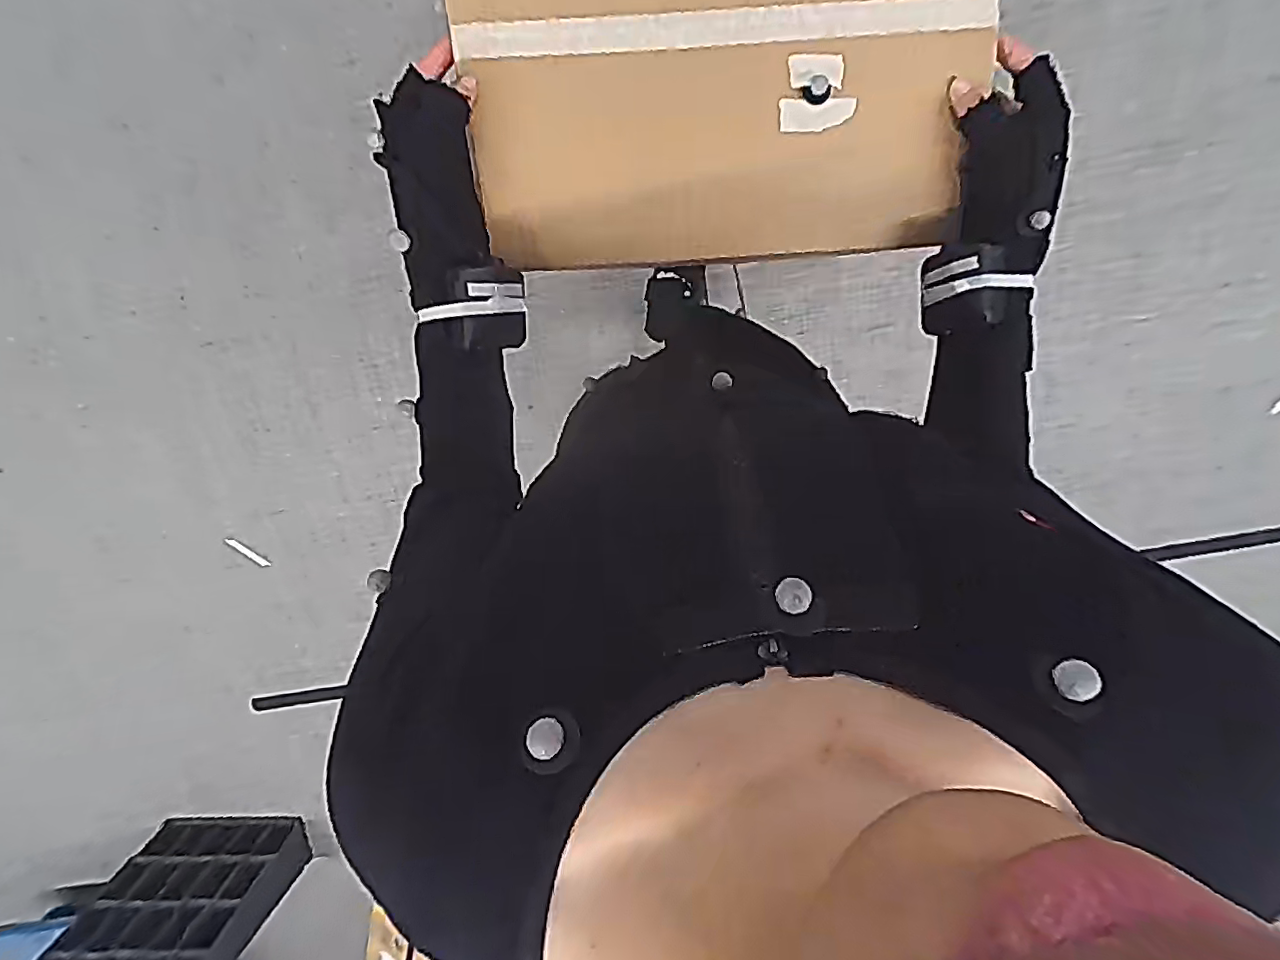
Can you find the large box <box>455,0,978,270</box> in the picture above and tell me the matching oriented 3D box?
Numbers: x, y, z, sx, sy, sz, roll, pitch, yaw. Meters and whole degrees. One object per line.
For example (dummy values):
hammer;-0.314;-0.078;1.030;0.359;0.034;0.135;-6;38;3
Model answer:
large box;0.054;-0.397;0.552;0.408;0.320;0.320;-4;111;-1
